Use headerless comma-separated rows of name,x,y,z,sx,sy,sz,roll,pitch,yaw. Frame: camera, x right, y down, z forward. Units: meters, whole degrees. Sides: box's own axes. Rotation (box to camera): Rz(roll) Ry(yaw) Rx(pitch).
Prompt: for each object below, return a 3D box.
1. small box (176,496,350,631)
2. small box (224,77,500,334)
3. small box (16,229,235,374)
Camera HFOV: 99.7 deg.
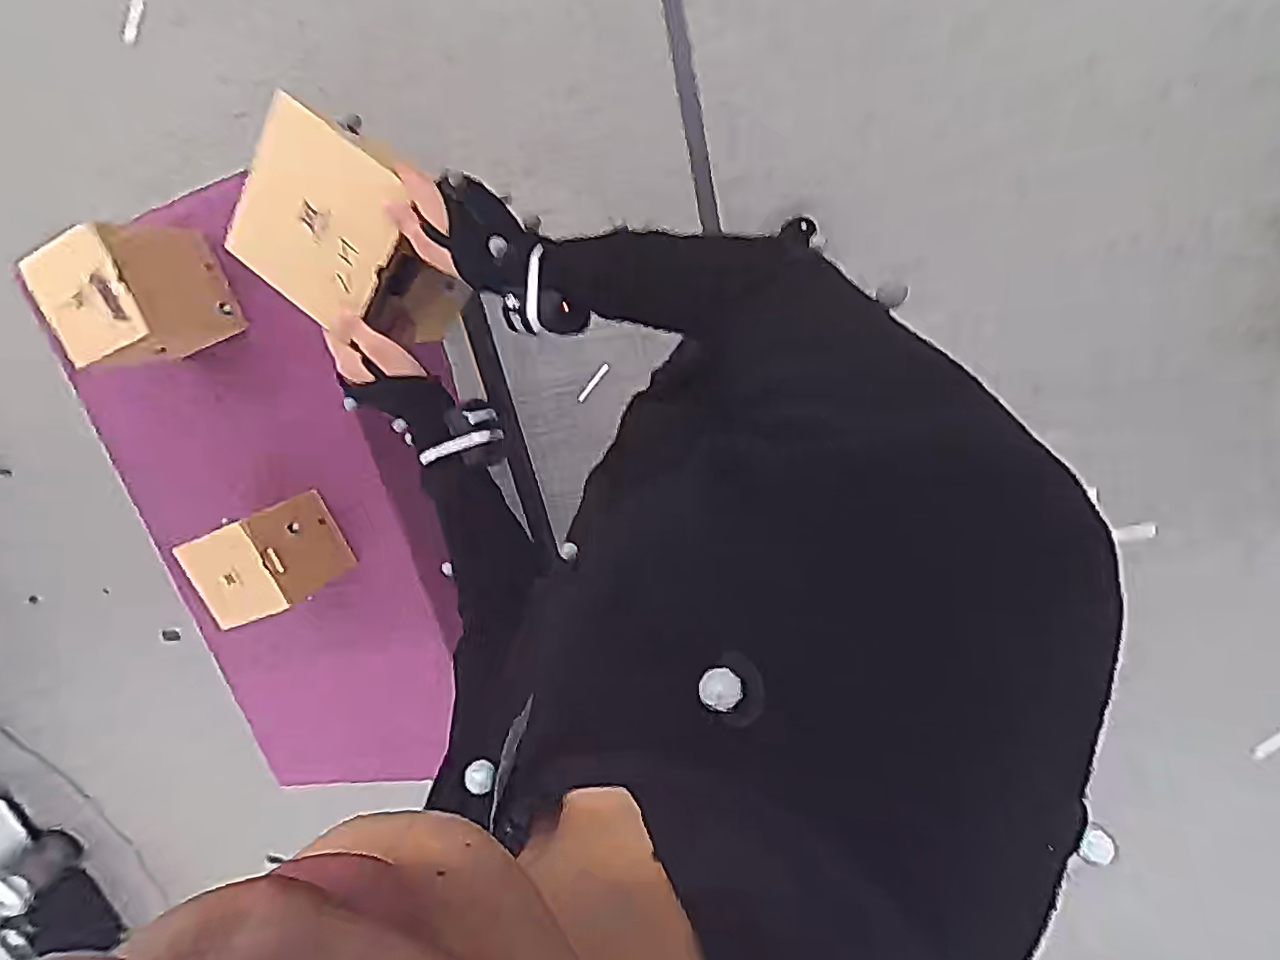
small box,-0.671,0.146,0.991,0.179,0.176,0.168,-19,103,18
small box,-0.290,-0.279,0.594,0.179,0.176,0.168,36,110,-2
small box,-0.804,-0.285,0.870,0.179,0.176,0.168,-15,105,18
